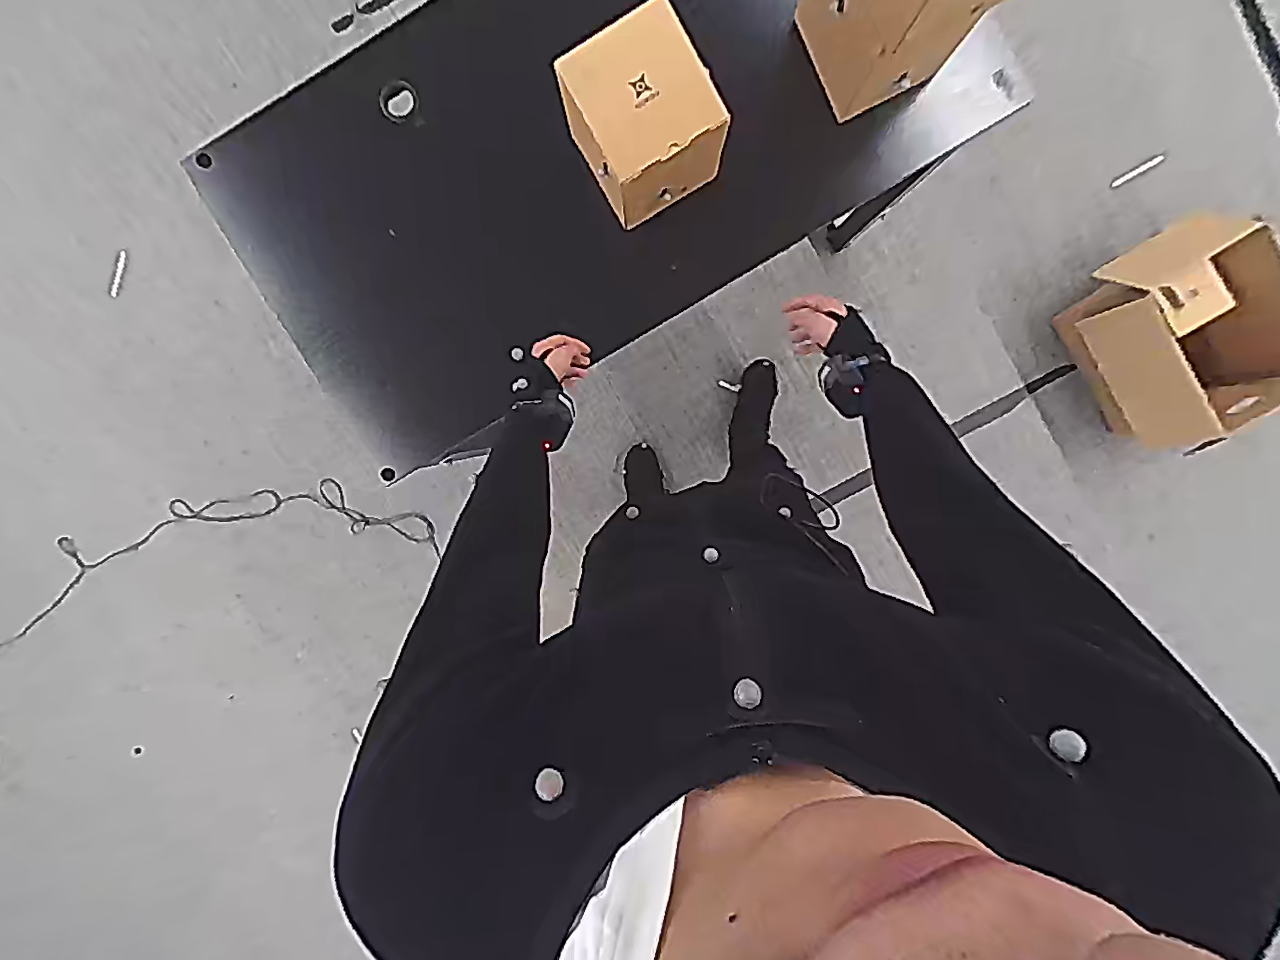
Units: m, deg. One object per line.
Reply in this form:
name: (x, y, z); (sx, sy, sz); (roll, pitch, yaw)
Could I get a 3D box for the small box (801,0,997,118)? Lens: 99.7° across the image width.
small box: (0.343, -0.654, 0.742); (0.168, 0.176, 0.179); (-25, 95, 4)

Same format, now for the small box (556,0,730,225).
small box: (0.004, -0.503, 0.764); (0.168, 0.176, 0.179); (-30, 95, 3)
